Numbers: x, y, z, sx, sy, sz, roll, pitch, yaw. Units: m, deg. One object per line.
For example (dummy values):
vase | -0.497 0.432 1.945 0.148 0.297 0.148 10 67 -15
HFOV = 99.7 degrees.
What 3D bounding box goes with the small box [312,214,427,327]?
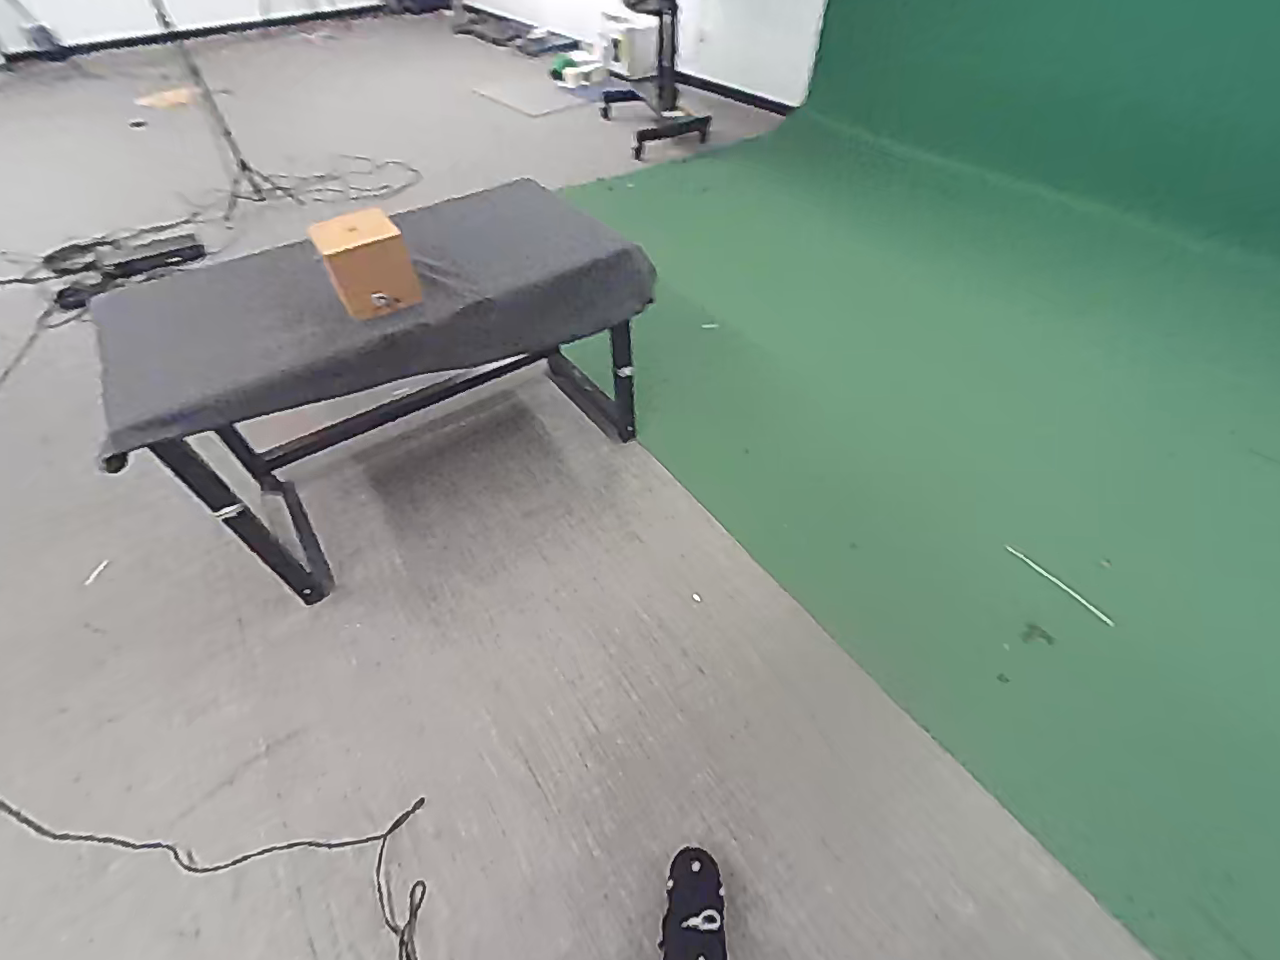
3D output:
small box | -0.626 -0.488 1.262 0.168 0.176 0.179 -29 54 -20
